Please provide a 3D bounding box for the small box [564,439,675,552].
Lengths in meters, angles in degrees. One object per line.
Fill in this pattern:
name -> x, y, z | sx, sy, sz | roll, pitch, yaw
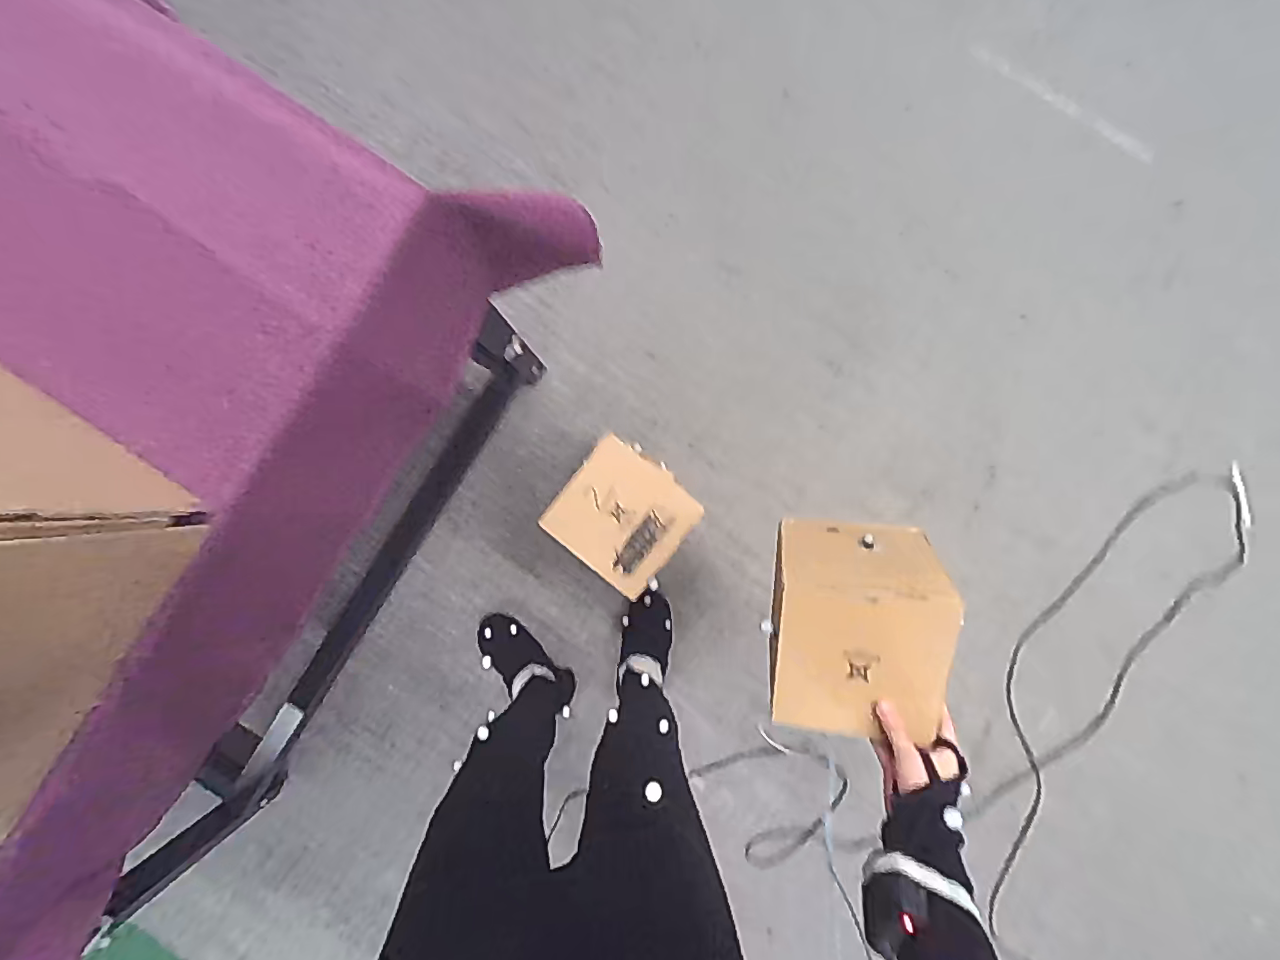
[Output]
small box -> -0.042, 0.032, 1.167 | 0.168, 0.176, 0.179 | 32, 91, 1

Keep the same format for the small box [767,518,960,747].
small box -> 0.234, 0.161, 0.614 | 0.168, 0.176, 0.179 | 3, 111, 11
